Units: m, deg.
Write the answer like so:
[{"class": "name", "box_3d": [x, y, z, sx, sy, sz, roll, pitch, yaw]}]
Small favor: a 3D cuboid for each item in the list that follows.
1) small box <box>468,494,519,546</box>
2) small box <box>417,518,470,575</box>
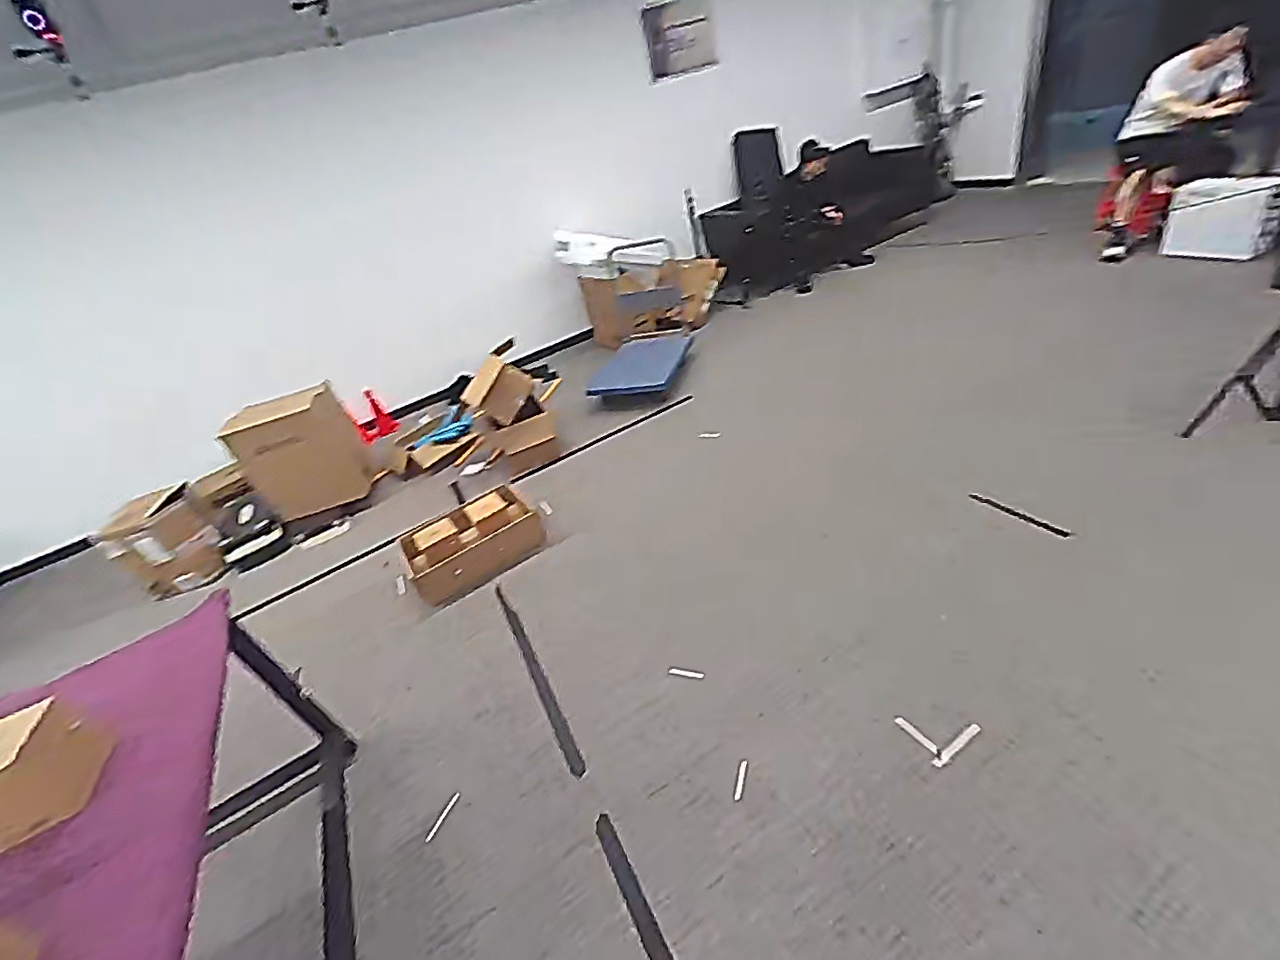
[{"class": "small box", "box_3d": [-0.726, 0.200, 2.689, 0.168, 0.176, 0.179, -31, 35, -20]}, {"class": "small box", "box_3d": [-0.938, 0.320, 2.598, 0.179, 0.176, 0.168, -30, 34, -22]}]
